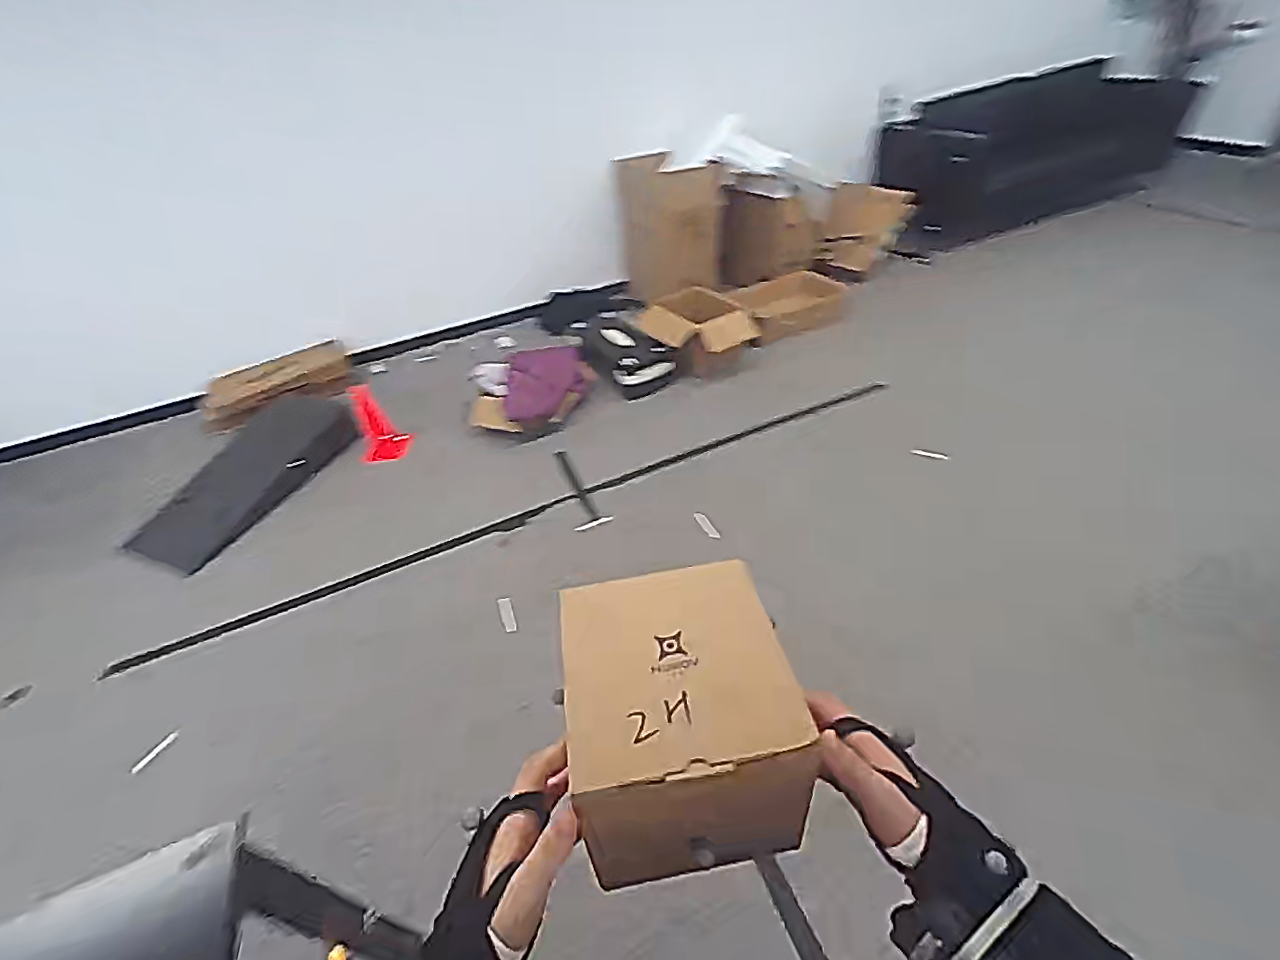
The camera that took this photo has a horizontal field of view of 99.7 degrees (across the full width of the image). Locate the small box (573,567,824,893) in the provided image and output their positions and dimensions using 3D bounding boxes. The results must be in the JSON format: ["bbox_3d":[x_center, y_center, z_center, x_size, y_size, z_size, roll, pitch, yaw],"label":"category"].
[{"bbox_3d":[0.038,0.204,0.460,0.168,0.176,0.179,-10,34,-3],"label":"small box"}]
